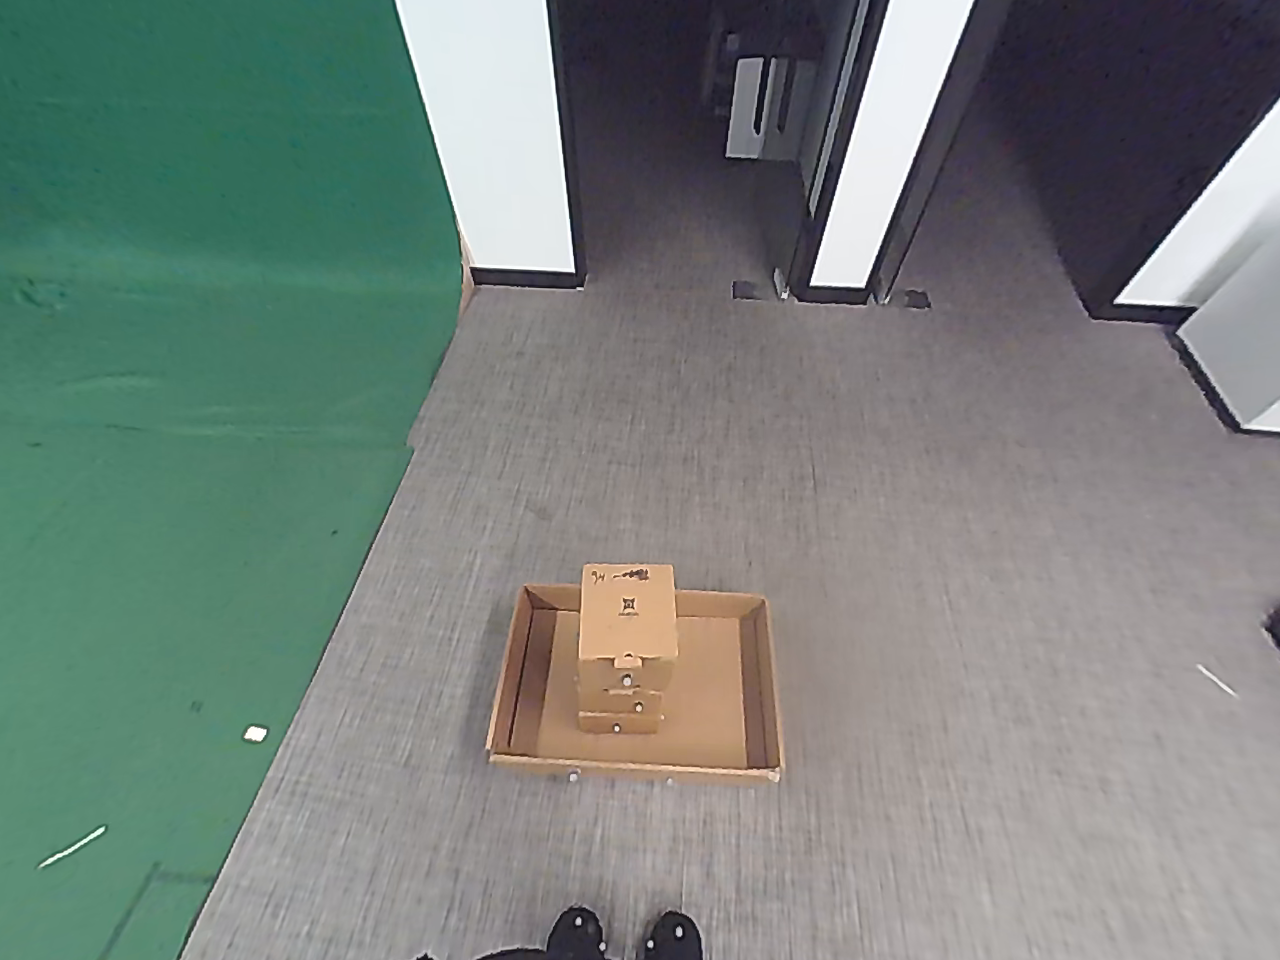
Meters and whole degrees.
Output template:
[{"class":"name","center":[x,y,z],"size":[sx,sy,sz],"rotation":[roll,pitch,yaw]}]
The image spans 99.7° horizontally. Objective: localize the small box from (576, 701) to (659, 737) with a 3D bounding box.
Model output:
[{"class":"small box","center":[-0.045,0.483,1.243],"size":[0.179,0.176,0.168],"rotation":[1,52,2]}]

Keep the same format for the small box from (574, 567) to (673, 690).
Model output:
[{"class":"small box","center":[-0.026,0.277,0.992],"size":[0.168,0.176,0.179],"rotation":[2,54,-1]}]

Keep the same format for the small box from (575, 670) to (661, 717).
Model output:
[{"class":"small box","center":[-0.038,0.379,1.120],"size":[0.168,0.176,0.179],"rotation":[4,51,0]}]
